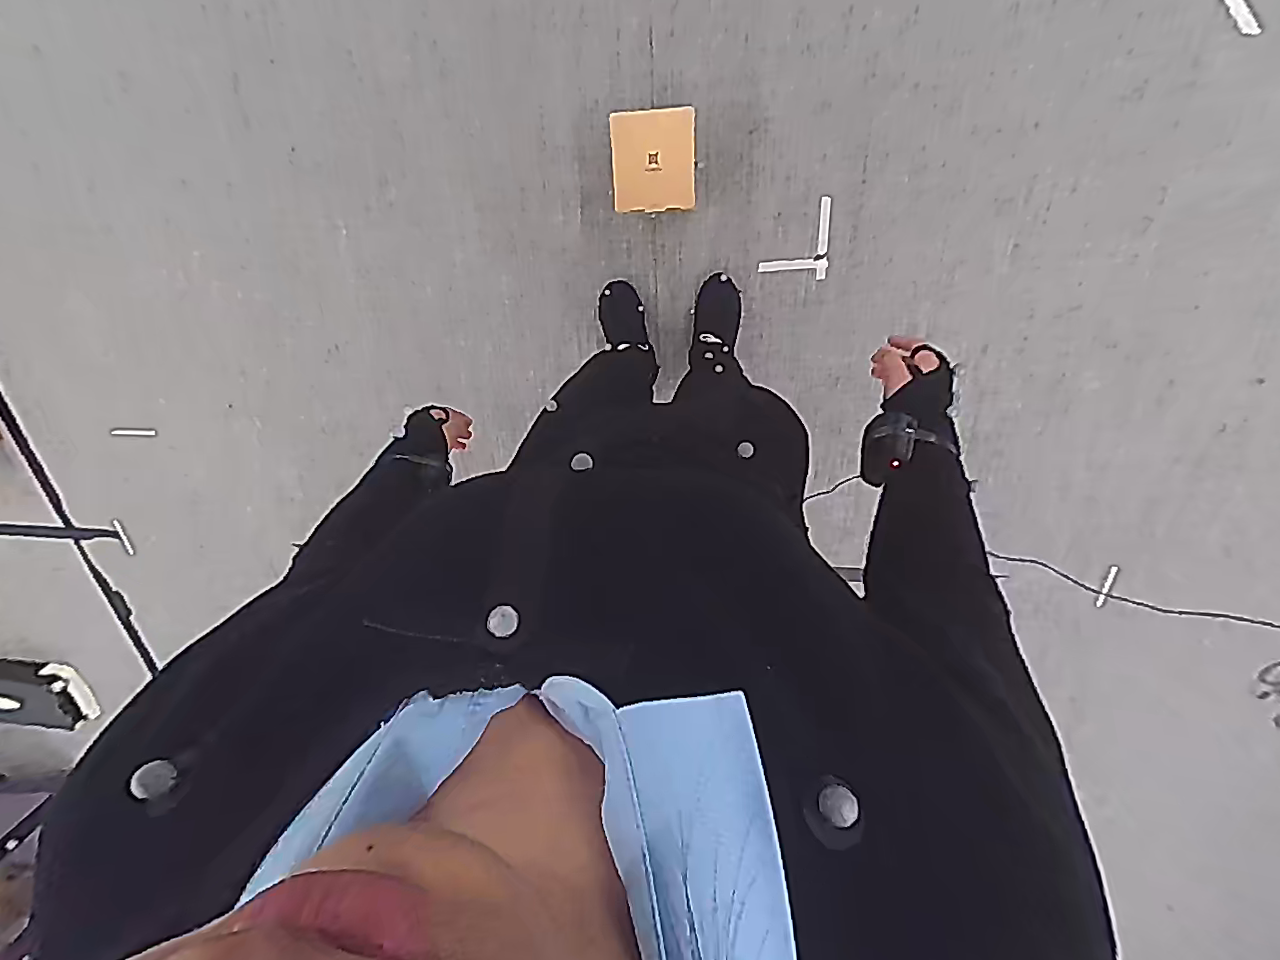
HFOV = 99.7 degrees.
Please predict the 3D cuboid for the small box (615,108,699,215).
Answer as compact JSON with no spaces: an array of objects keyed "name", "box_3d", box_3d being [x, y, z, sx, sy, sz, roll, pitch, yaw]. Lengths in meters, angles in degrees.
[{"name":"small box","box_3d":[0.041,-0.661,1.141,0.168,0.176,0.179,0,116,7]}]
